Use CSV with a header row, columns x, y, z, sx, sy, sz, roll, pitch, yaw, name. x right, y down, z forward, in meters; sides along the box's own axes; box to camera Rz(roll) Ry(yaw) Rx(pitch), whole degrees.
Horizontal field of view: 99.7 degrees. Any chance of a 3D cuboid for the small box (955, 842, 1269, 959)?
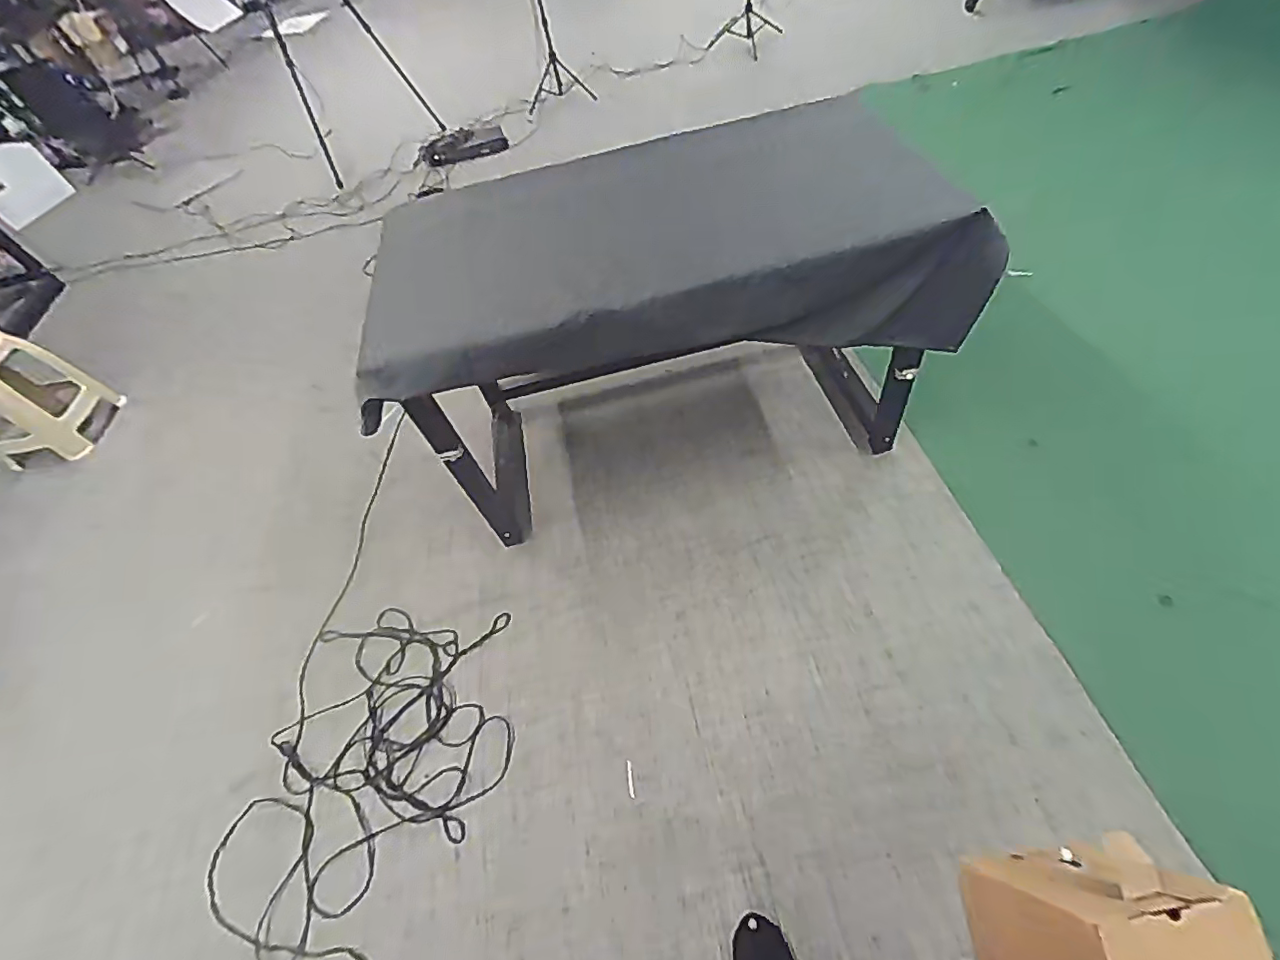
x,y,z,sx,sy,sz,roll,pitch,yaw,name
0.439,0.470,0.506,0.168,0.176,0.179,0,69,-11,small box
